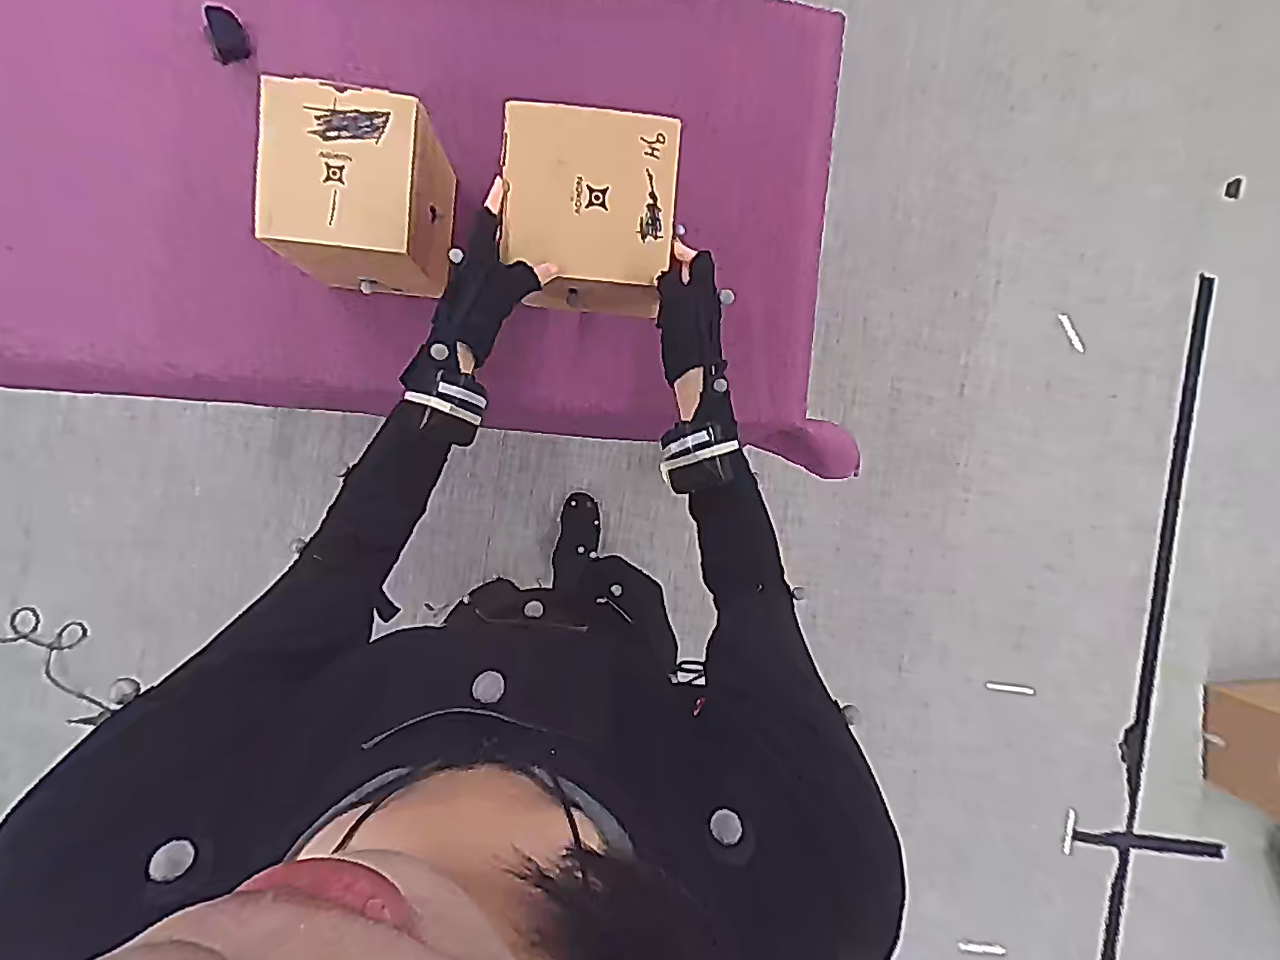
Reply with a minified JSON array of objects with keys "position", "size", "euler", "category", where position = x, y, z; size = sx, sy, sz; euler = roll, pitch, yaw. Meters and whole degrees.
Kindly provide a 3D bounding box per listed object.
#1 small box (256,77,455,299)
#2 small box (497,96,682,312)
[{"position":[-0.338,-0.347,0.675],"size":[0.168,0.176,0.179],"euler":[5,91,-5],"category":"small box"},{"position":[-0.053,-0.298,0.620],"size":[0.179,0.176,0.168],"euler":[4,95,-2],"category":"small box"}]
